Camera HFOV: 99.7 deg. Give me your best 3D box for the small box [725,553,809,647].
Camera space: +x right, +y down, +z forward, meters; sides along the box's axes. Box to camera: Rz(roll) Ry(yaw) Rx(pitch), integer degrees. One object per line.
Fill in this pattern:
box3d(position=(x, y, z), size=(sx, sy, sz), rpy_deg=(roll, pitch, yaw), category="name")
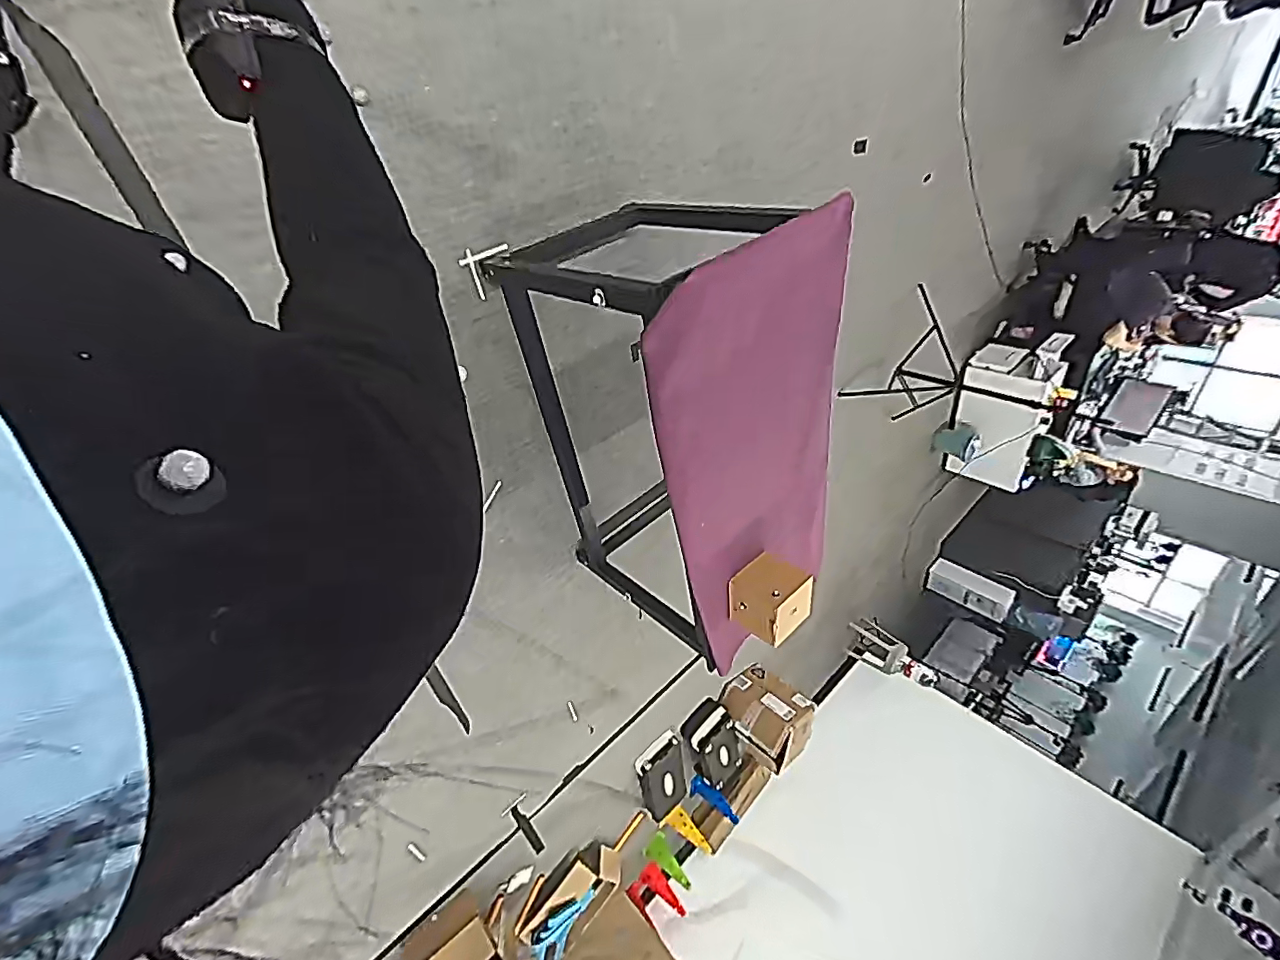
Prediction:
box3d(position=(0.369, 0.344, 1.587), size=(0.179, 0.176, 0.168), rpy_deg=(-31, 130, -32), category="small box")
